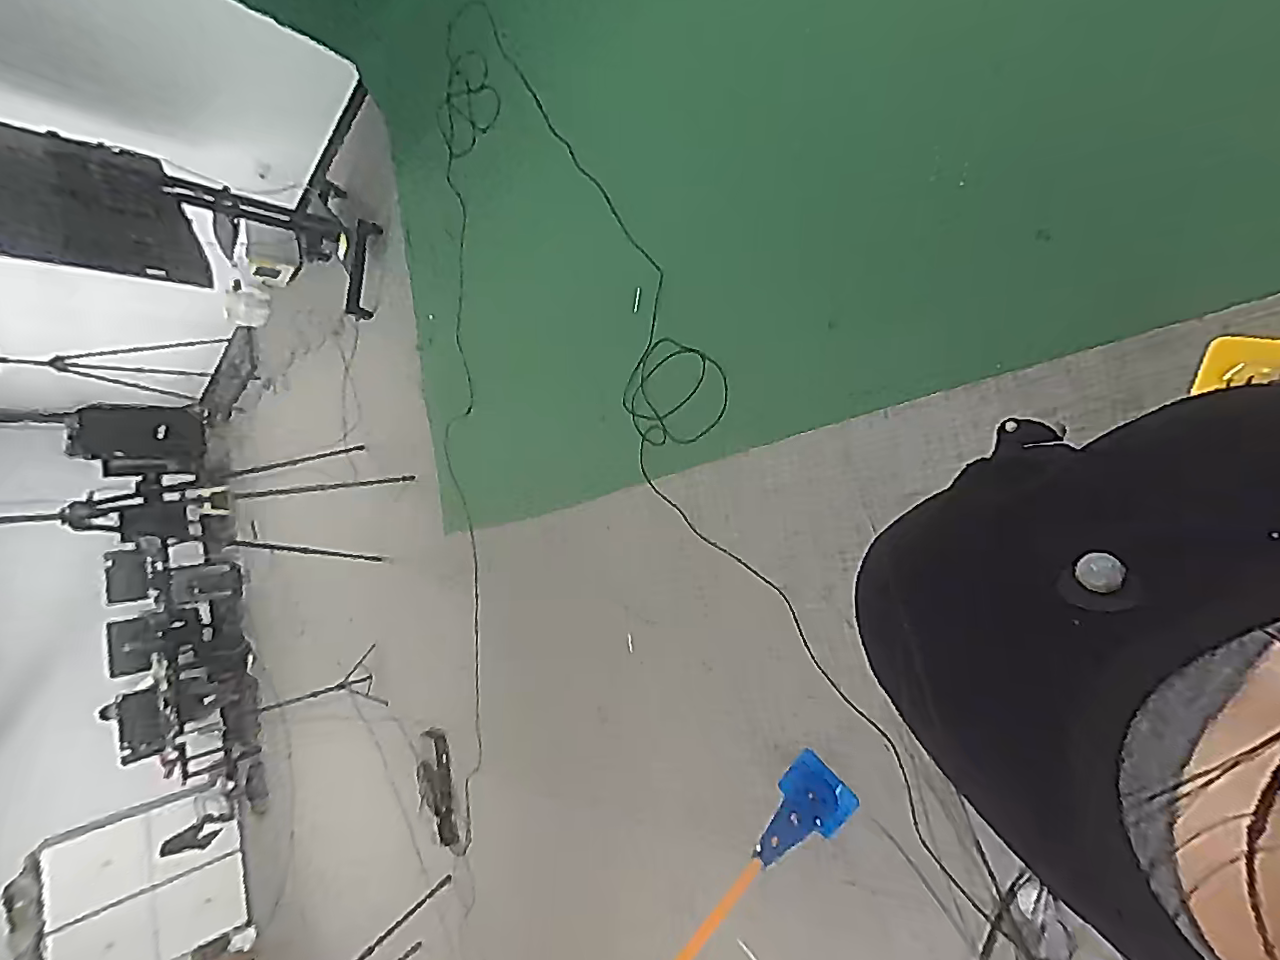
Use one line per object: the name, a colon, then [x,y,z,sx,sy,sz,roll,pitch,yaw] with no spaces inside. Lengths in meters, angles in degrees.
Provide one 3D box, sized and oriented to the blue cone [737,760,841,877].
blue cone: [0.393,0.988,1.515,0.192,0.380,0.193,39,119,32]
